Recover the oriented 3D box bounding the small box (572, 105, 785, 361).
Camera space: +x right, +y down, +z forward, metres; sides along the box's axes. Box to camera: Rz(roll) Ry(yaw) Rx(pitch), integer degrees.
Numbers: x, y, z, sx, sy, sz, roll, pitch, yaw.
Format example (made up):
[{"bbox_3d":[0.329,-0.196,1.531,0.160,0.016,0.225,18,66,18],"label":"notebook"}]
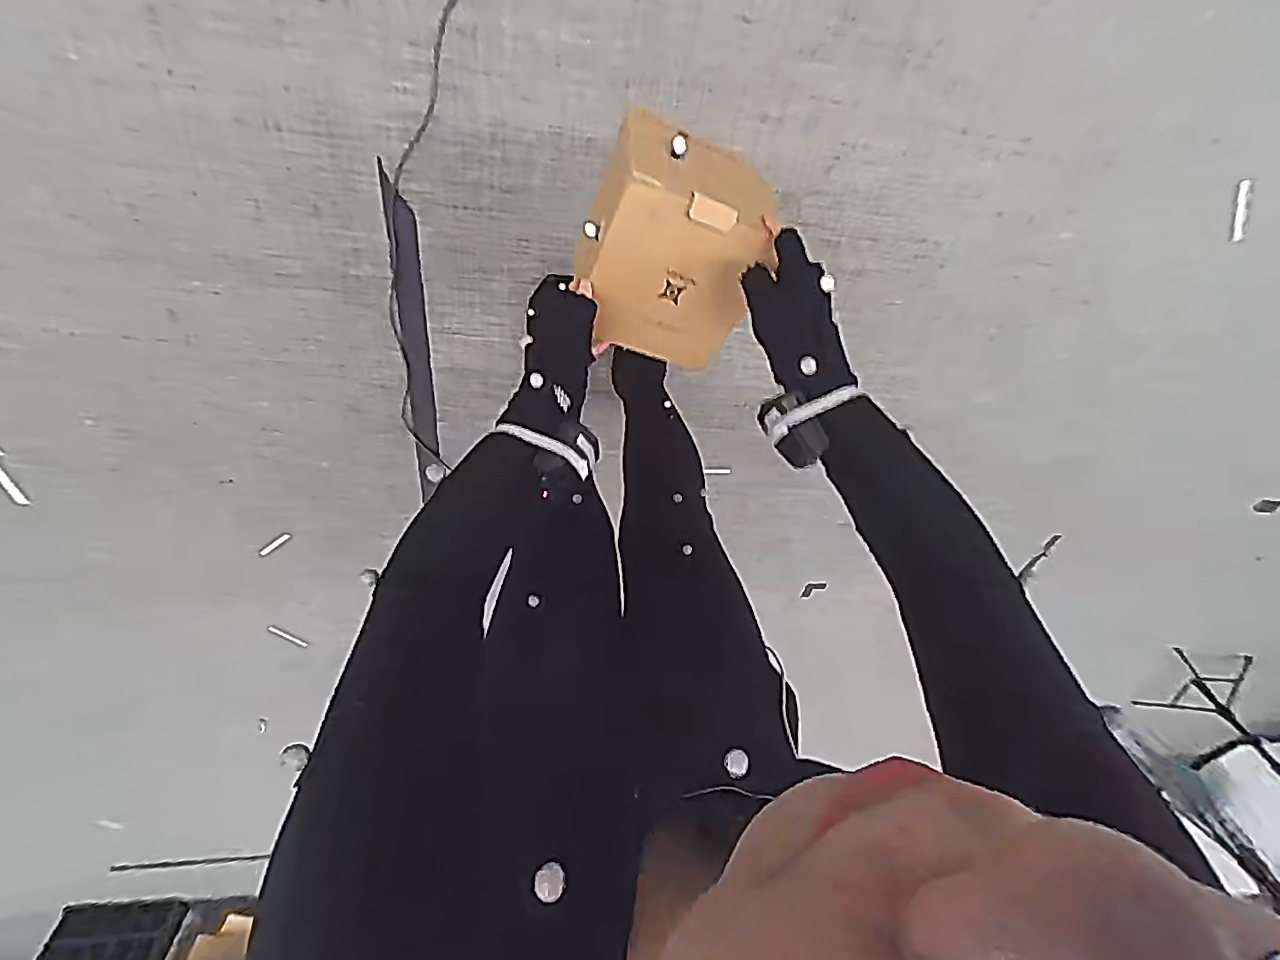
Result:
[{"bbox_3d":[0.029,-0.270,0.600,0.168,0.176,0.179,14,140,-19],"label":"small box"}]
